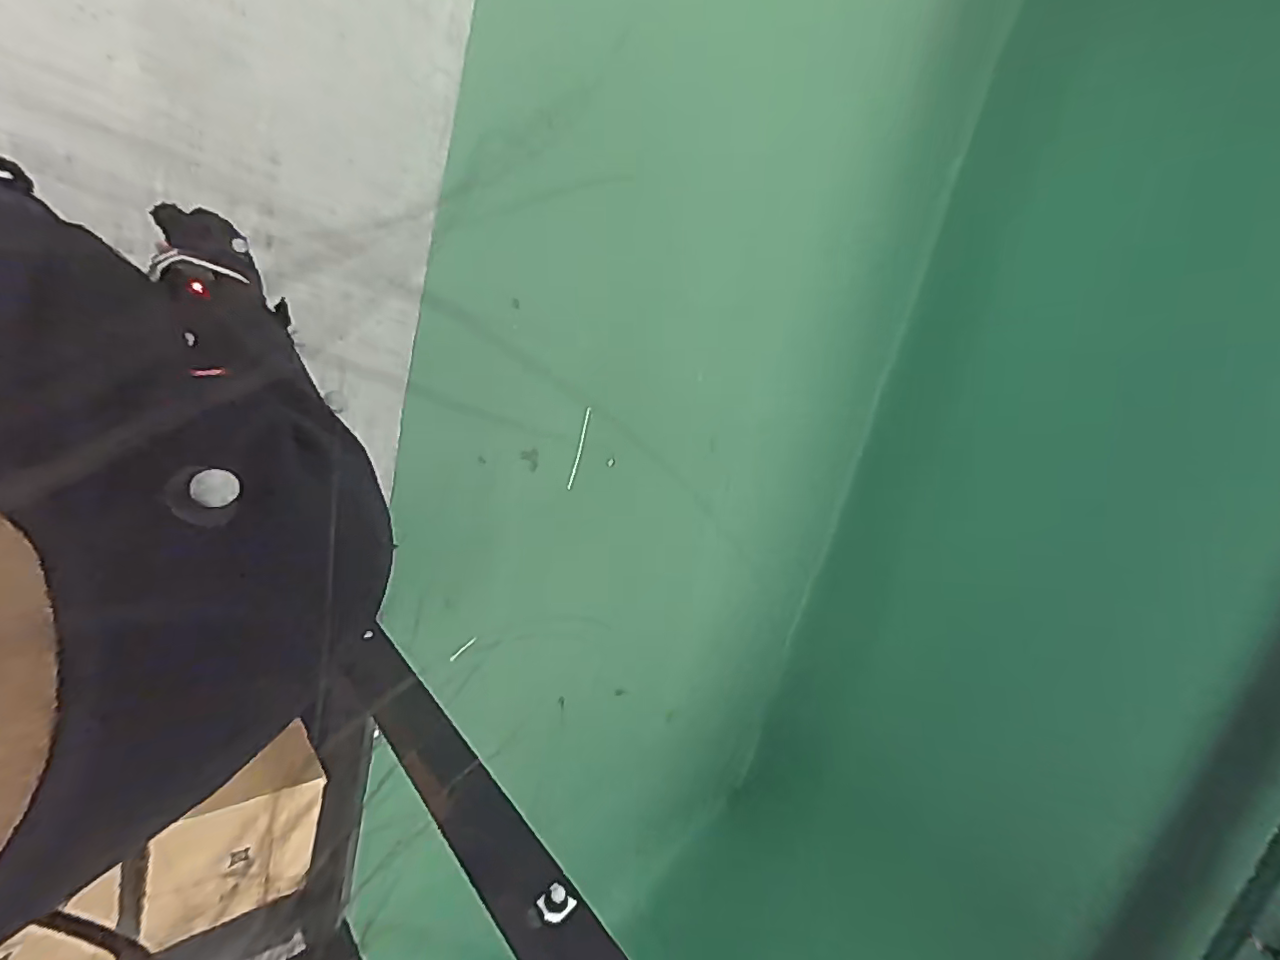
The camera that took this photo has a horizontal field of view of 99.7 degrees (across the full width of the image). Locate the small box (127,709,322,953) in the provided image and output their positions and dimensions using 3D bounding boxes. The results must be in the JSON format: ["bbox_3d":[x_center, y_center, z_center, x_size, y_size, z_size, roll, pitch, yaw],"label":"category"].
[{"bbox_3d":[-0.532,0.419,0.689,0.168,0.176,0.179,5,106,-46],"label":"small box"}]
